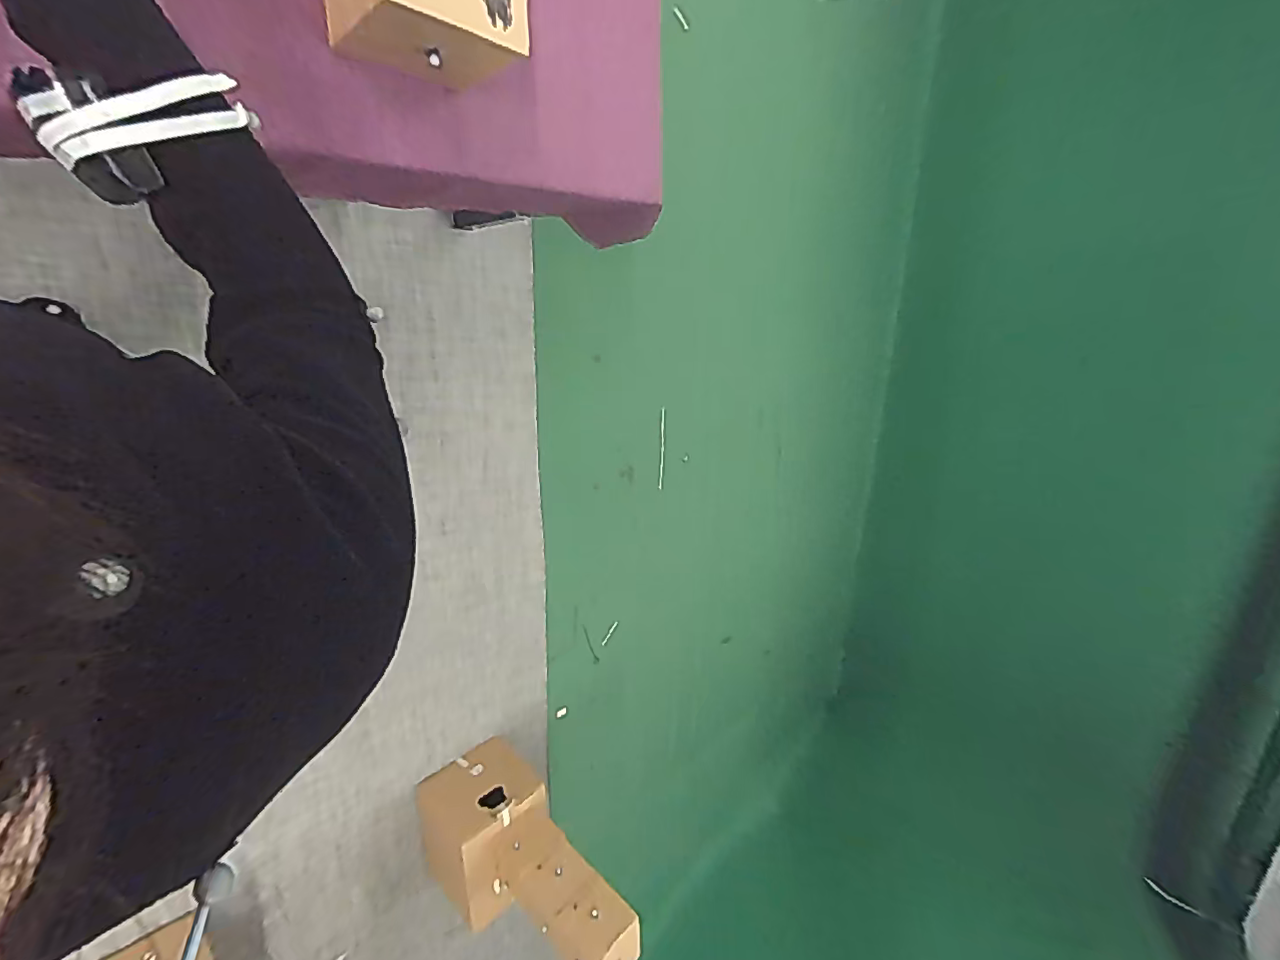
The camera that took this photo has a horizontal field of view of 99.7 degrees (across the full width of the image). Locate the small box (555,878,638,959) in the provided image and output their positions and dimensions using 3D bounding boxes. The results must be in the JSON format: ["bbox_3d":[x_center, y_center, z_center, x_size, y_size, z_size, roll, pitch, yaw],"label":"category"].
[{"bbox_3d":[-0.123,1.269,1.511,0.168,0.176,0.179,-21,118,-42],"label":"small box"}]

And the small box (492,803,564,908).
[{"bbox_3d":[-0.359,1.190,1.725,0.179,0.176,0.168,-20,117,-44],"label":"small box"}]

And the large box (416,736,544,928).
[{"bbox_3d":[-0.548,1.207,1.895,0.320,0.320,0.408,-18,116,-43],"label":"large box"}]

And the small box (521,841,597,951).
[{"bbox_3d":[-0.241,1.233,1.620,0.168,0.176,0.179,-24,120,-41],"label":"small box"}]
